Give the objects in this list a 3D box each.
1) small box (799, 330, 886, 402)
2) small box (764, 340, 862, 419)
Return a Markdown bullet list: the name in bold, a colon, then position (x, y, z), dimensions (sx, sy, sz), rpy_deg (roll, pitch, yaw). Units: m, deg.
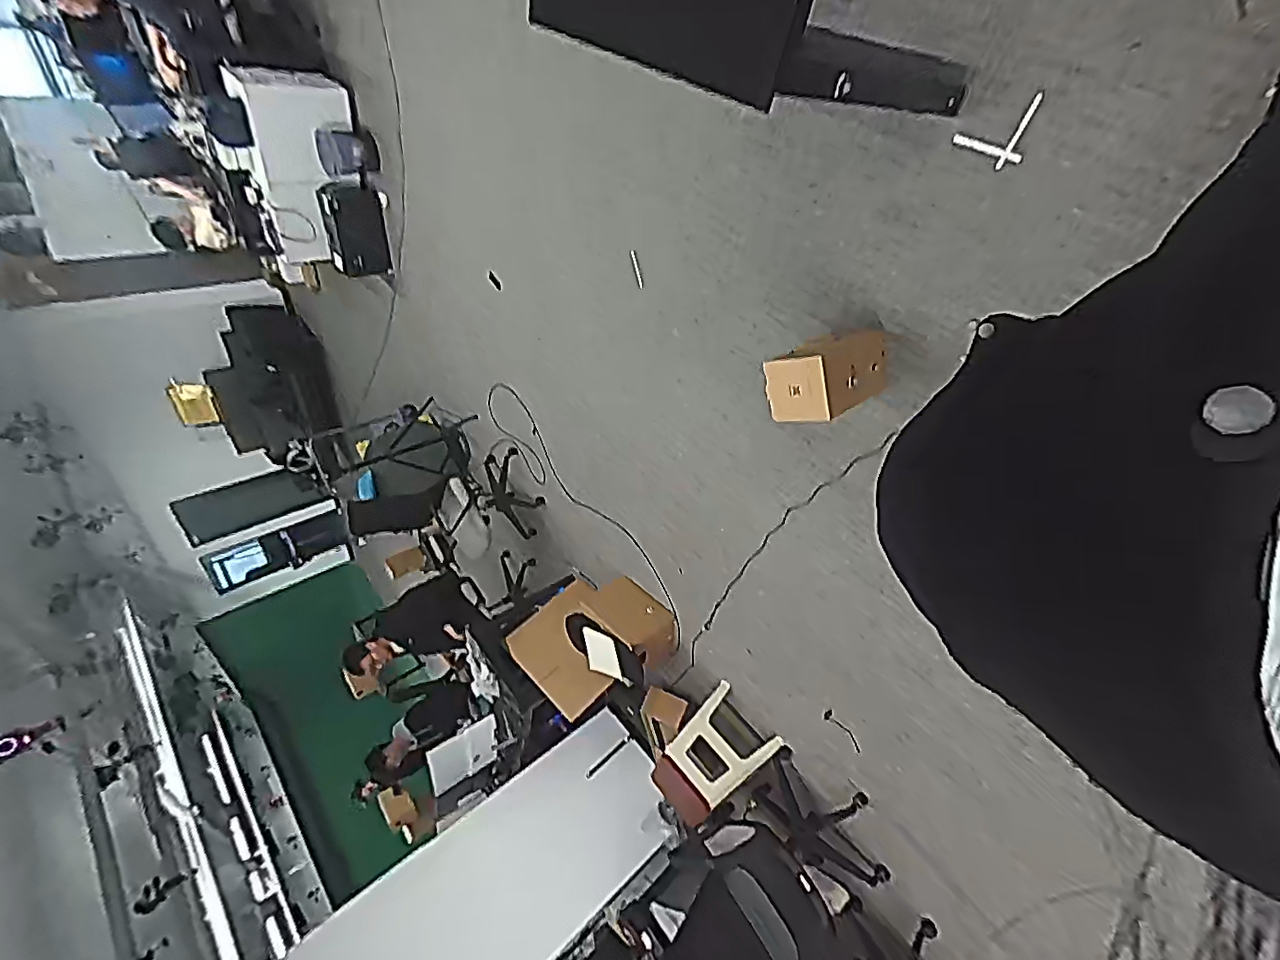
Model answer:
- **small box**: position (0.576, -0.324, 1.525), dimensions (0.179, 0.176, 0.168), rpy_deg (13, 120, 48)
- **small box**: position (0.459, -0.264, 1.430), dimensions (0.179, 0.176, 0.168), rpy_deg (5, 116, 49)
